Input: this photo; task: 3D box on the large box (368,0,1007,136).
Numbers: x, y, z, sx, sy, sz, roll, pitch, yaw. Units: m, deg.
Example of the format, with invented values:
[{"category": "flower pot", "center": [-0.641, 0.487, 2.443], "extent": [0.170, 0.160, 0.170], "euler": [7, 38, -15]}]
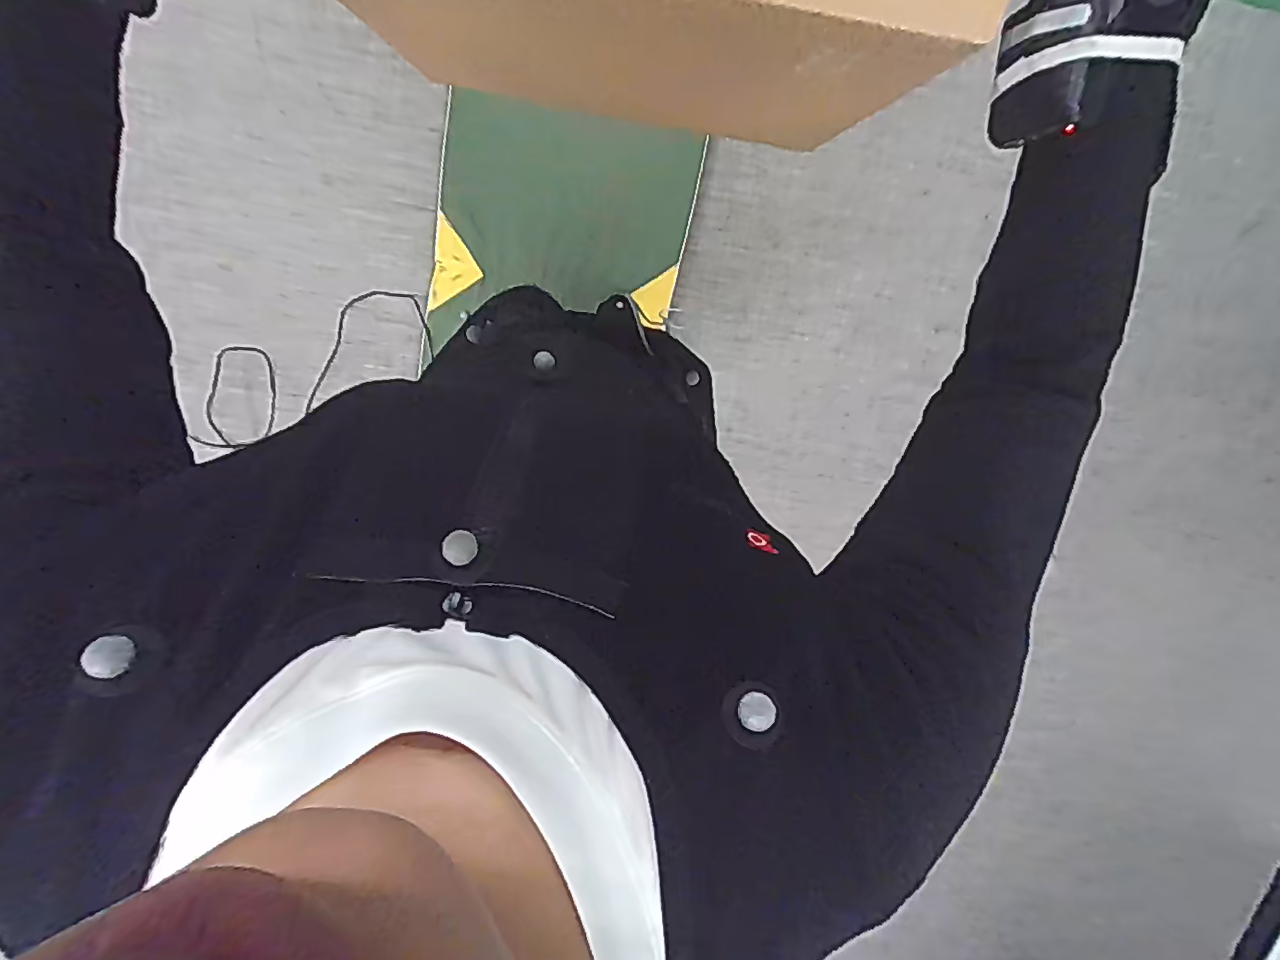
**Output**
[{"category": "large box", "center": [0.016, -0.467, 0.363], "extent": [0.408, 0.320, 0.320], "euler": [7, 113, -5]}]
